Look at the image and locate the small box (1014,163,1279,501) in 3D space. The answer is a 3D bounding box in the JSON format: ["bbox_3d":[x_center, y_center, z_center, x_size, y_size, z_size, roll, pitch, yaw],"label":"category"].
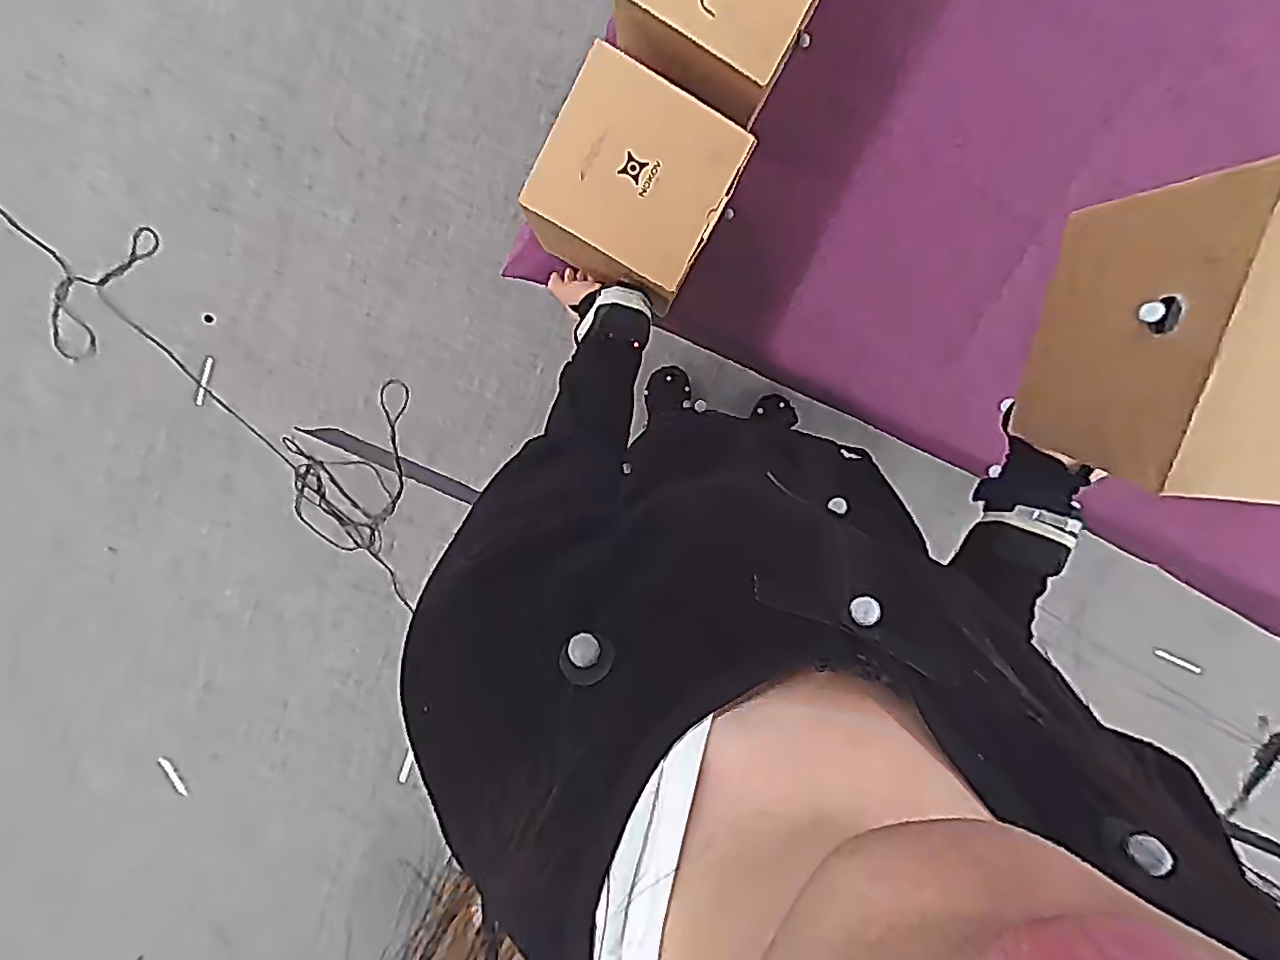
[{"bbox_3d":[0.396,-0.092,0.363,0.168,0.176,0.179,6,108,4],"label":"small box"}]

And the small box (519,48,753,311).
[{"bbox_3d":[-0.006,-0.305,0.598,0.179,0.176,0.168,28,95,-5],"label":"small box"}]
